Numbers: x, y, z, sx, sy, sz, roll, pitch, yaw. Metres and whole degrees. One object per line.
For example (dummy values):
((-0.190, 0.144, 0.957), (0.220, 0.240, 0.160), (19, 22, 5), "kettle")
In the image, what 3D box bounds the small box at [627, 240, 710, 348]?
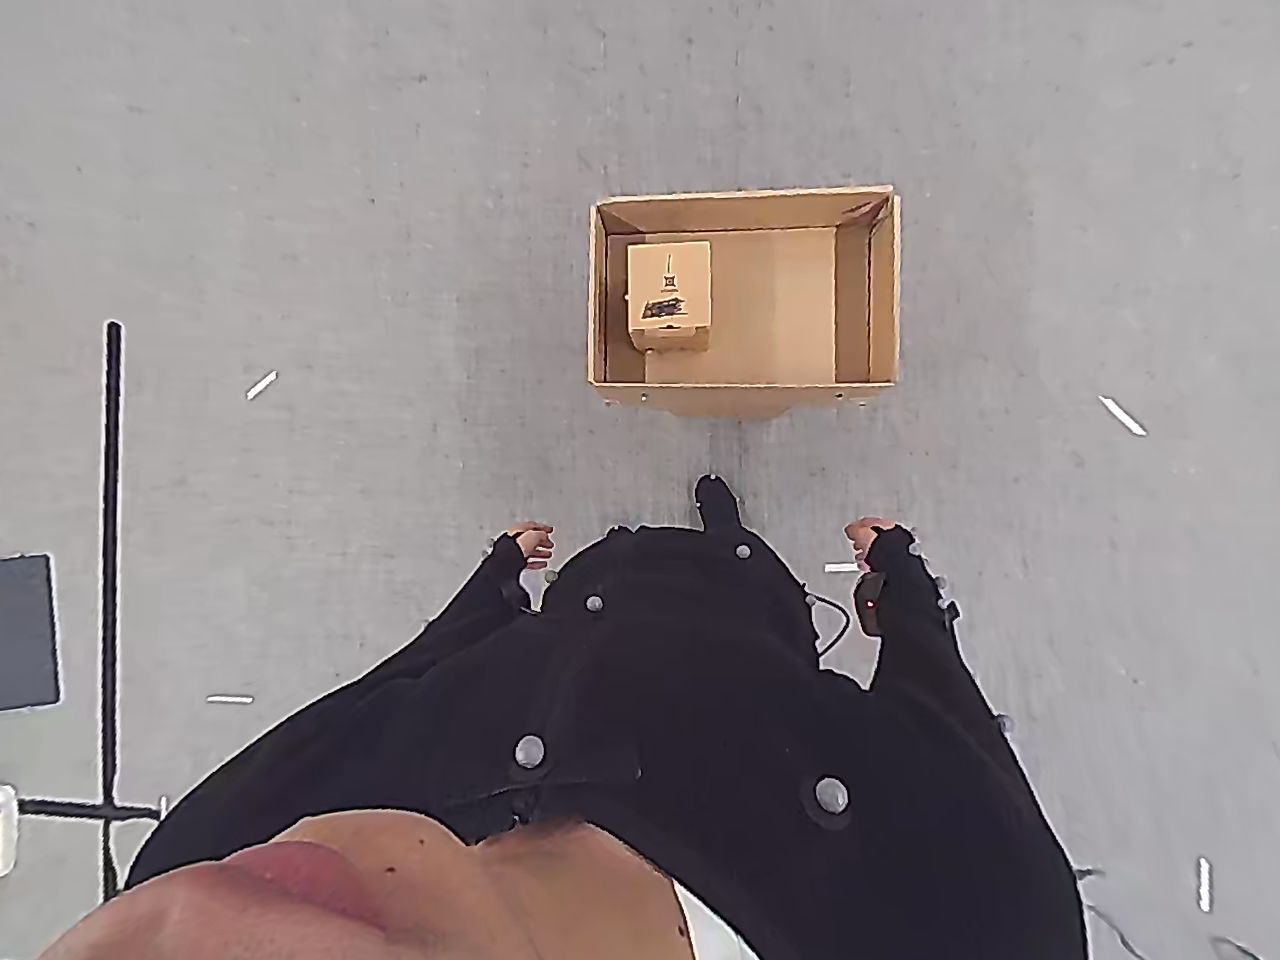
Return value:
((0.064, -0.382, 1.144), (0.168, 0.176, 0.179), (0, 88, 5), "small box")
